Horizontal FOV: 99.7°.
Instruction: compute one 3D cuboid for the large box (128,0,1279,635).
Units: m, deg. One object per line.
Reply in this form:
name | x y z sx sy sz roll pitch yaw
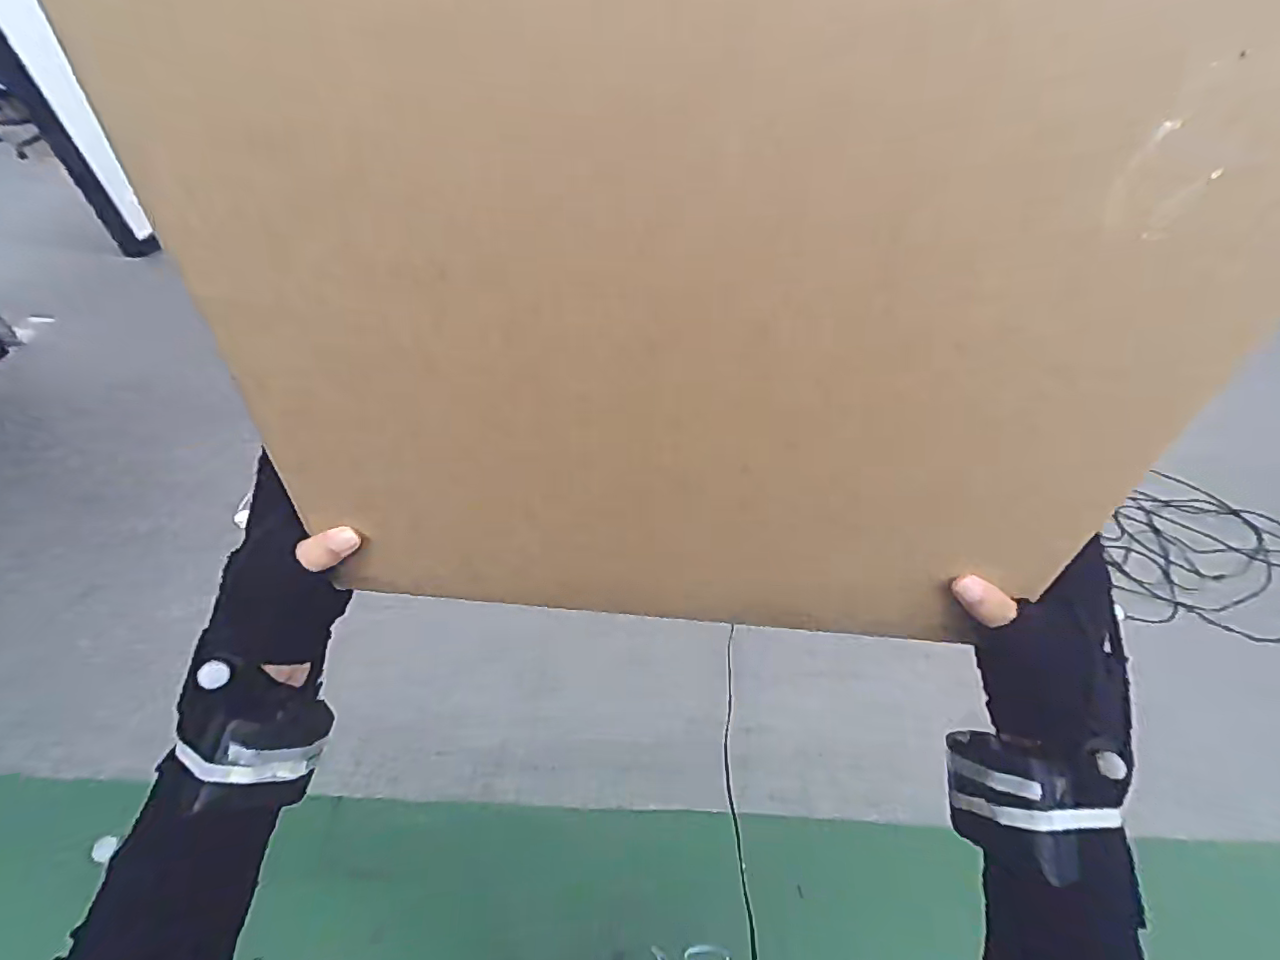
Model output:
large box | 0.042 -0.127 0.347 0.408 0.320 0.320 6 41 -1
